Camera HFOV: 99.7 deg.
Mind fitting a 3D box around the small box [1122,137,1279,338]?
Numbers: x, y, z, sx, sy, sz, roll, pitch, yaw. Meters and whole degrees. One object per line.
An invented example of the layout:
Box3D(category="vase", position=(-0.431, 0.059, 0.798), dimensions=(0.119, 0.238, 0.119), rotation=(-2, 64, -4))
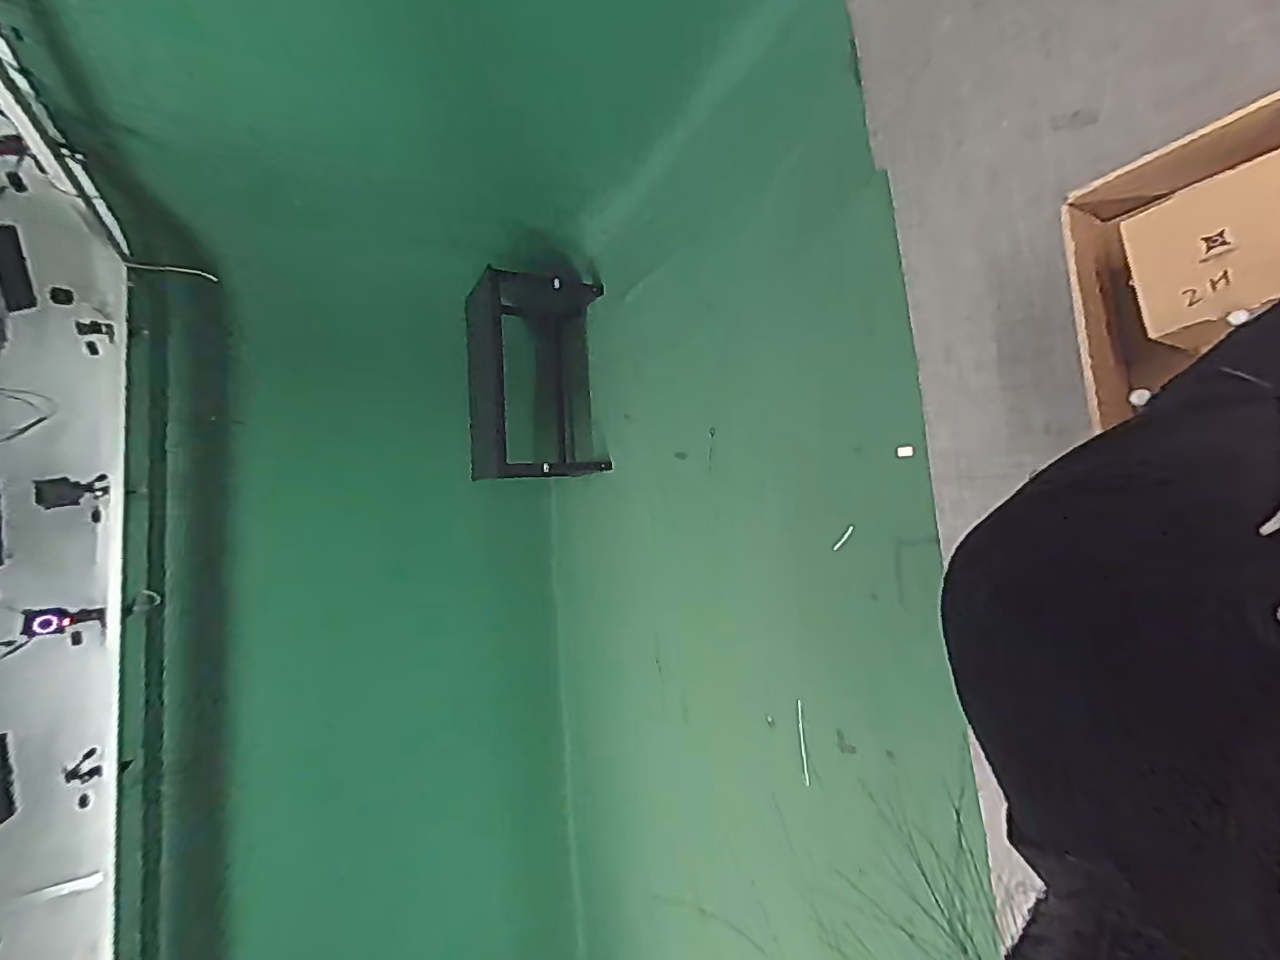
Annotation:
Box3D(category="small box", position=(0.788, -0.305, 0.715), dimensions=(0.168, 0.176, 0.179), rotation=(-19, 76, 59))
